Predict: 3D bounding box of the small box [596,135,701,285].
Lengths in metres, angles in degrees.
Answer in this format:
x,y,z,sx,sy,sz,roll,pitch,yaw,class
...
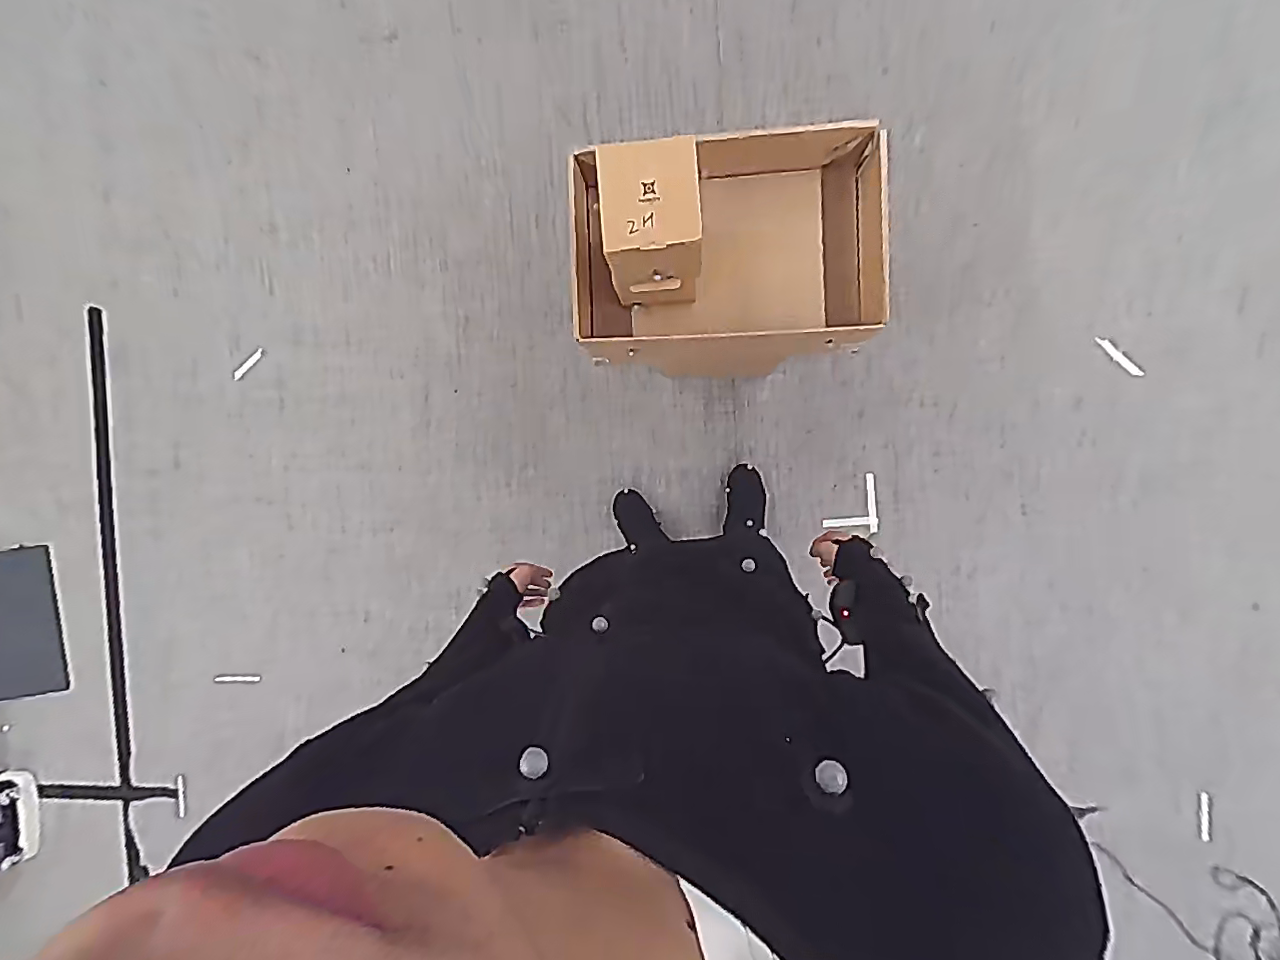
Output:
x,y,z,sx,sy,sz,roll,pitch,yaw,class
0.019,-0.466,0.957,0.168,0.176,0.179,-4,91,6,small box

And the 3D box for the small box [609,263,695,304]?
x,y,z,sx,sy,sz,roll,pitch,yaw,class
0.028,-0.474,1.121,0.168,0.176,0.179,-3,90,5,small box
